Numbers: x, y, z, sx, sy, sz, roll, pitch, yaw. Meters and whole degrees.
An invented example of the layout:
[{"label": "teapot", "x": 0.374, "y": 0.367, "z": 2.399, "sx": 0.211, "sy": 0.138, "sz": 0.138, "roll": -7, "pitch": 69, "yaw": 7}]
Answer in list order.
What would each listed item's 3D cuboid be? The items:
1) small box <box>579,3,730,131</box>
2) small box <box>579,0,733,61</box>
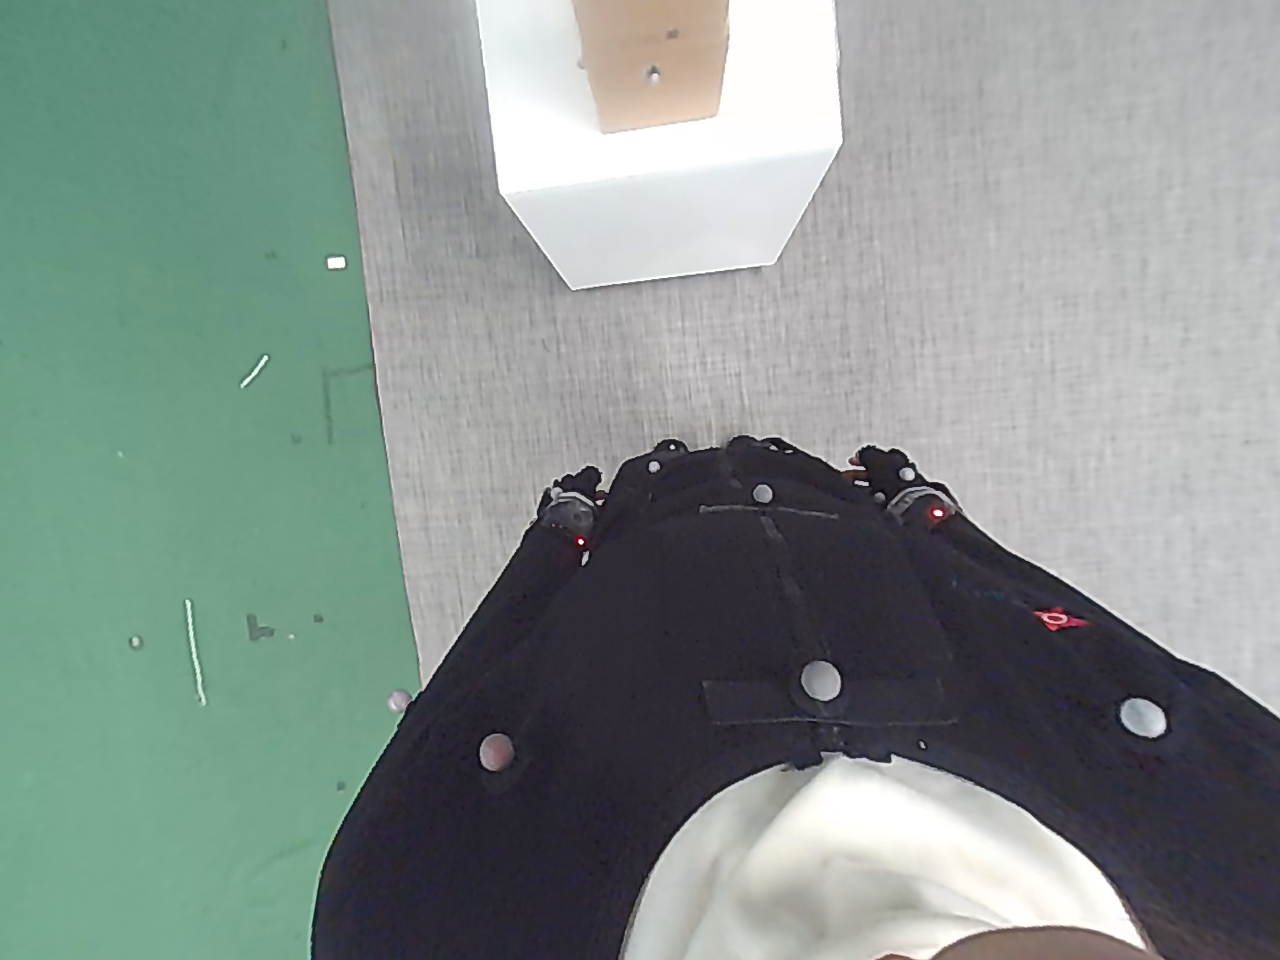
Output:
[{"label": "small box", "x": 0.018, "y": -0.594, "z": 0.712, "sx": 0.179, "sy": 0.176, "sz": 0.168, "roll": -6, "pitch": 95, "yaw": 4}, {"label": "small box", "x": 0.008, "y": -0.584, "z": 0.552, "sx": 0.168, "sy": 0.176, "sz": 0.179, "roll": -7, "pitch": 95, "yaw": 4}]
